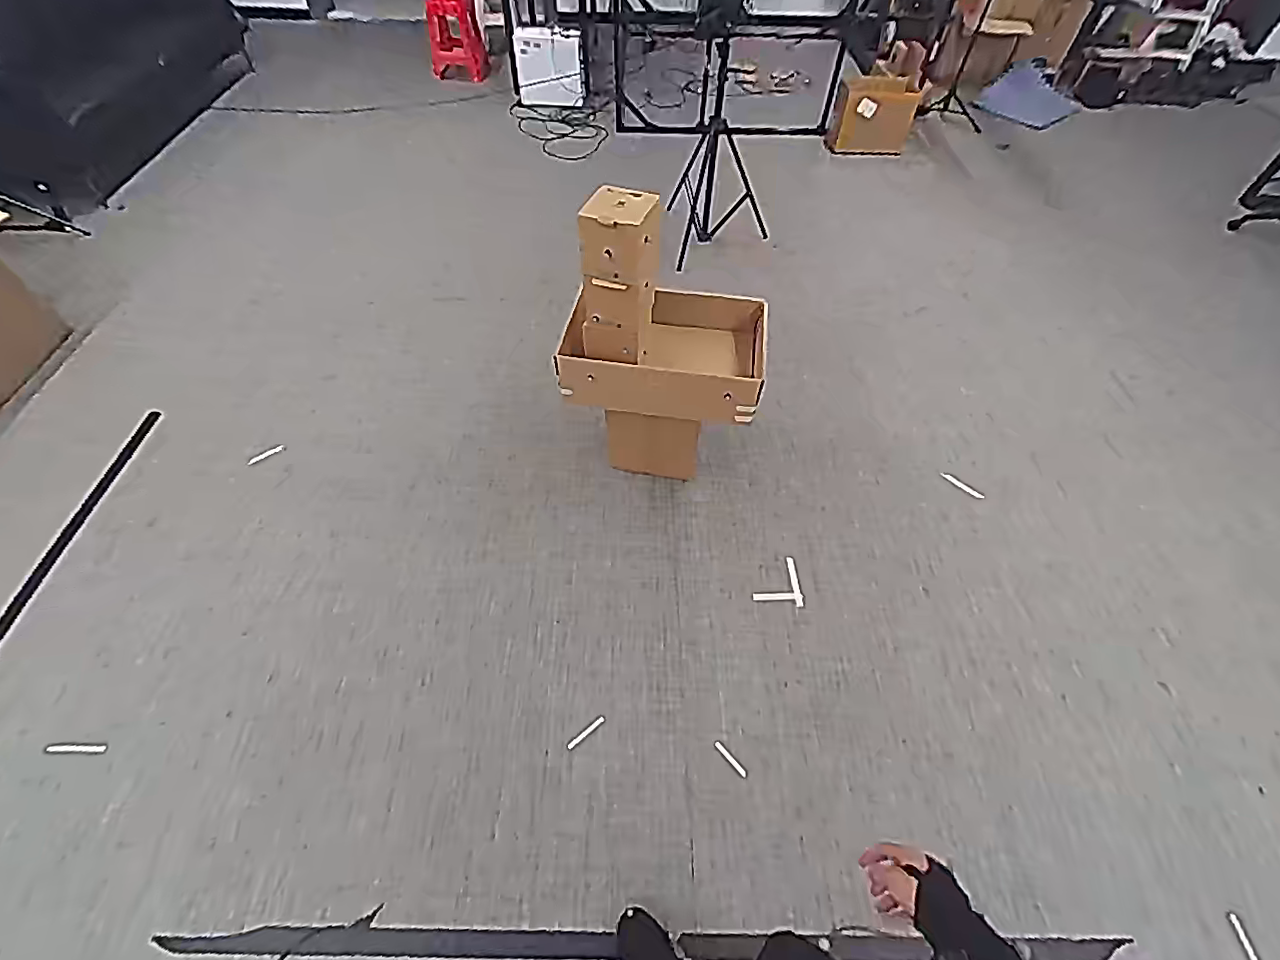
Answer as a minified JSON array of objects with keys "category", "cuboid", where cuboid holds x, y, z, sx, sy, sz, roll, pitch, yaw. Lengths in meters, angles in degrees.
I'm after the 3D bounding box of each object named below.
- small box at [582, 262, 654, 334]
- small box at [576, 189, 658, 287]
[{"category":"small box","cuboid":[-0.058,-0.552,1.585,0.168,0.176,0.179,14,53,9]},{"category":"small box","cuboid":[-0.055,-0.647,1.450,0.168,0.176,0.179,17,55,12]}]
